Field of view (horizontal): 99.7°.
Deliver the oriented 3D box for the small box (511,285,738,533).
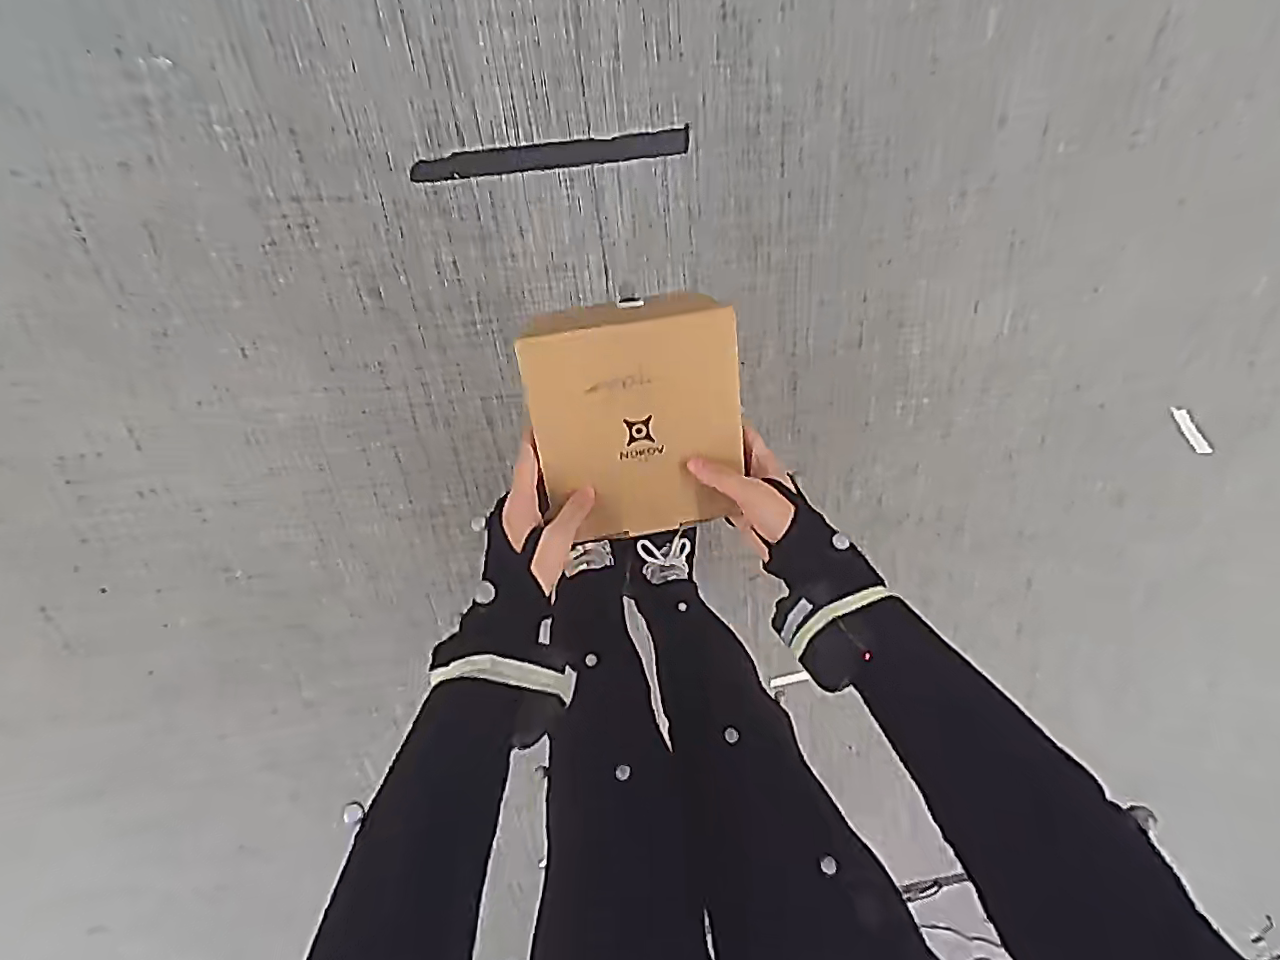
[{"bbox_3d":[-0.012,-0.076,0.506,0.168,0.176,0.179,-10,114,-2],"label":"small box"}]
